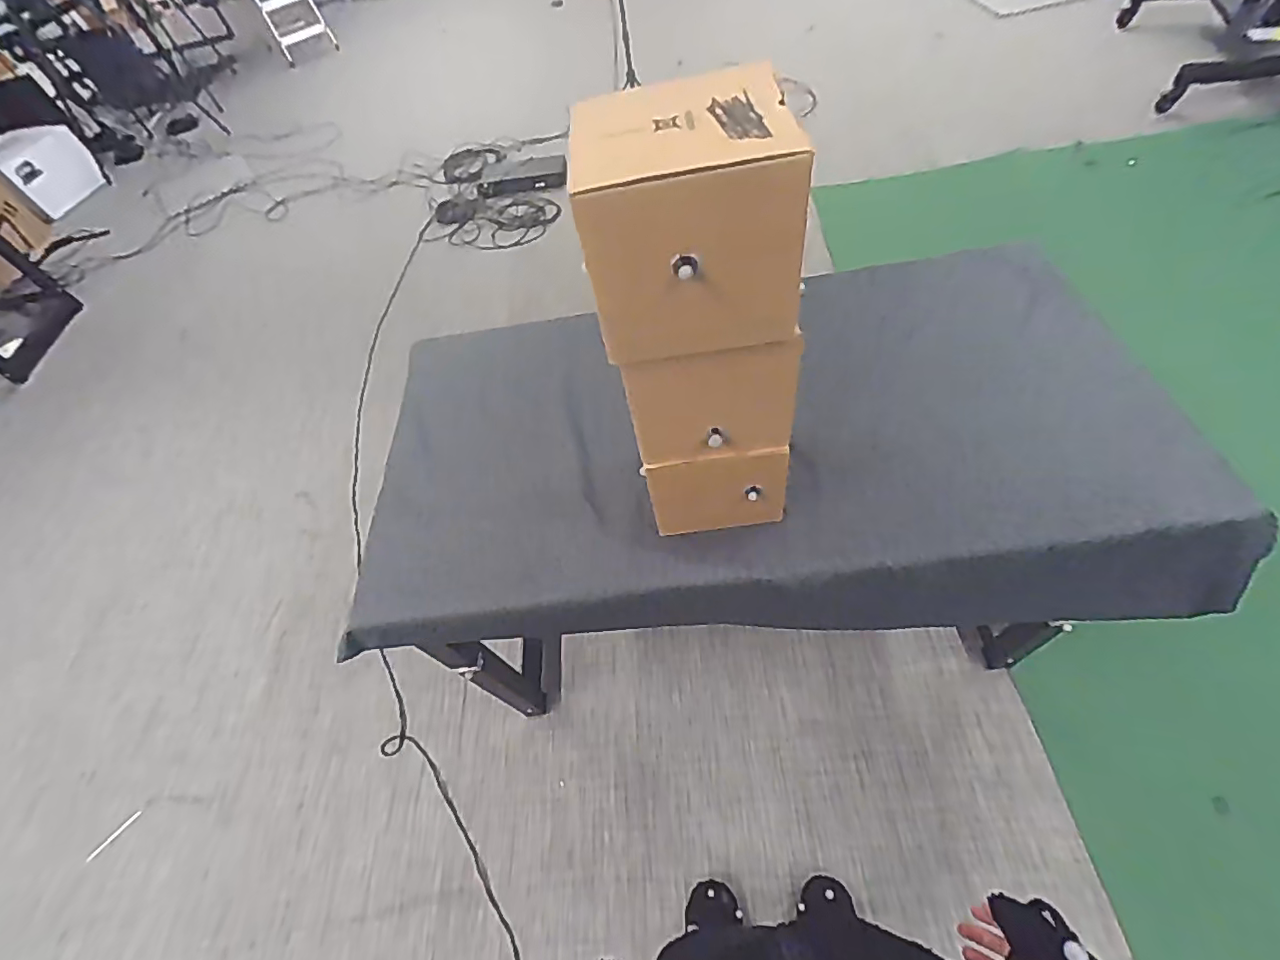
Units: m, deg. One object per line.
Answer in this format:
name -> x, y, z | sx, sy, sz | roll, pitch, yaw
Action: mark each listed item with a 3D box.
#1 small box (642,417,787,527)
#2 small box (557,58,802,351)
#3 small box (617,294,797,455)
small box -> 0.097, -0.051, 0.755 | 0.179, 0.176, 0.168 | -9, 54, 6
small box -> 0.037, -0.238, 0.489 | 0.179, 0.176, 0.168 | -5, 54, 7
small box -> 0.070, -0.149, 0.626 | 0.179, 0.176, 0.168 | -8, 55, 5
